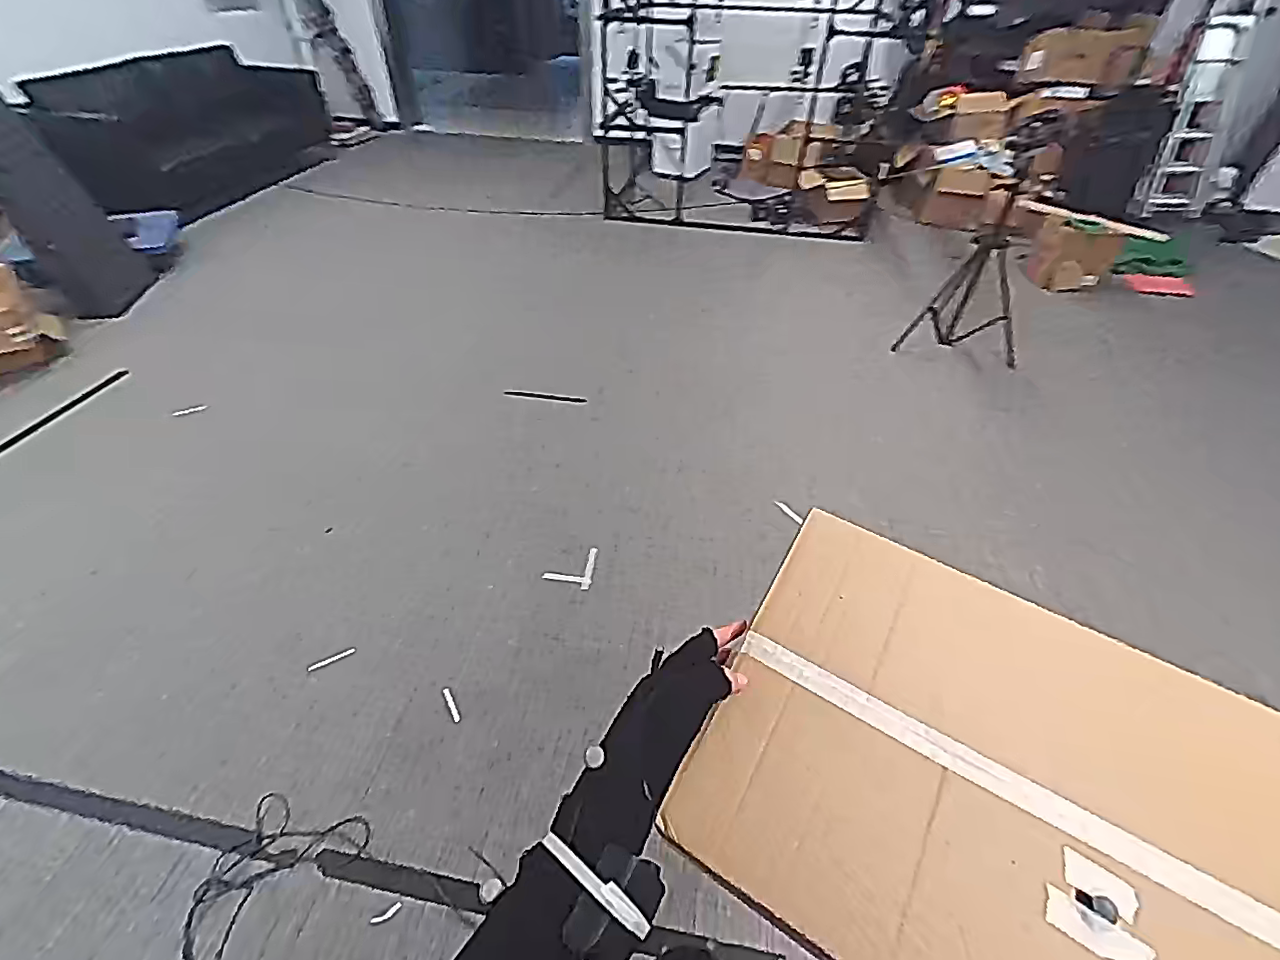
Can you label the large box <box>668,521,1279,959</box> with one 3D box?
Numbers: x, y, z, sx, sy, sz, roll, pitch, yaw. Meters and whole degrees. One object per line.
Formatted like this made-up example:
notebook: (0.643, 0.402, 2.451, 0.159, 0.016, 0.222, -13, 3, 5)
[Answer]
large box: (0.270, 0.309, 0.529, 0.408, 0.320, 0.320, 25, 61, 20)
